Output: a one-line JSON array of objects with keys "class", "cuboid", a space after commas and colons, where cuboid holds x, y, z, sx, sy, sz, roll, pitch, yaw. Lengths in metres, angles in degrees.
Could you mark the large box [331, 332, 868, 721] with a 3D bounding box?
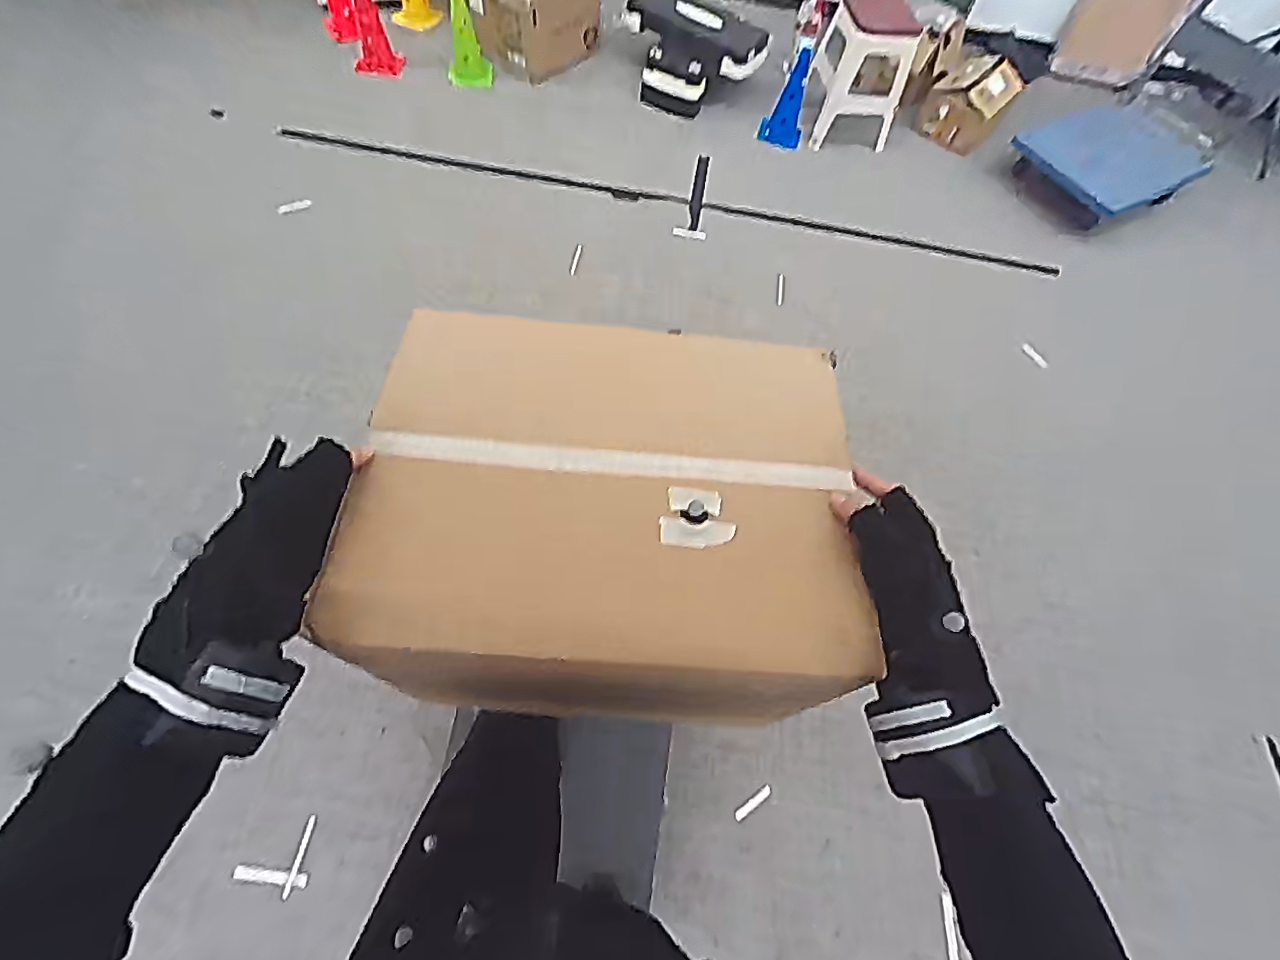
[{"class": "large box", "cuboid": [-0.033, 0.072, 0.597, 0.408, 0.320, 0.320, 5, 59, -3]}]
